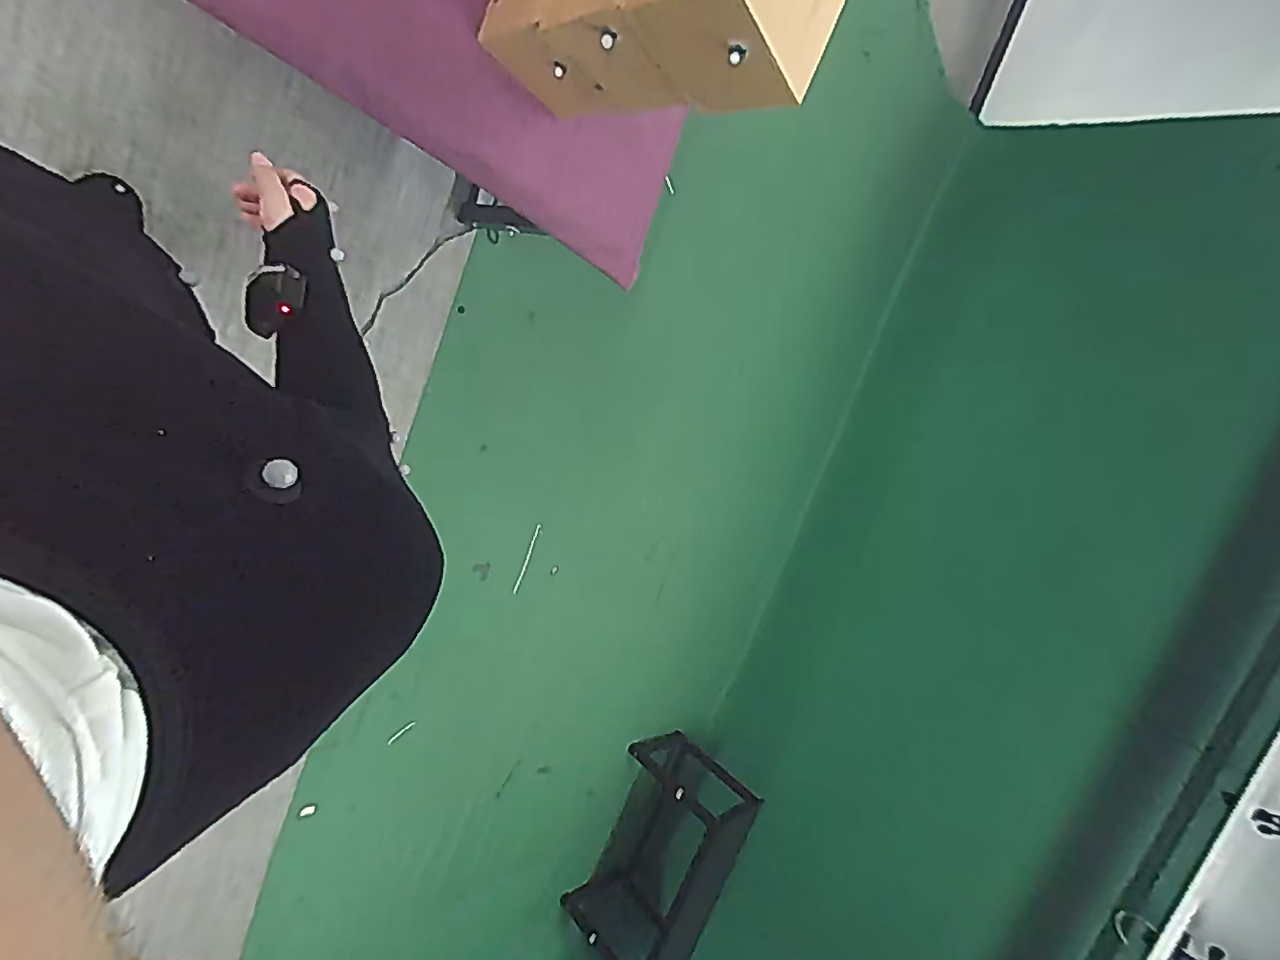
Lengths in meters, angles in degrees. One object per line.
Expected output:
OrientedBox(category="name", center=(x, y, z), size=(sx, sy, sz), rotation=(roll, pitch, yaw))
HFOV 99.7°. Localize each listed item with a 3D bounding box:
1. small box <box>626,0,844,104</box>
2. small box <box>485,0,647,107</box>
OrientedBox(category="small box", center=(0.114, -0.570, 0.623), size=(0.179, 0.176, 0.168), rotation=(18, 98, -51))
OrientedBox(category="small box", center=(-0.105, -0.705, 0.825), size=(0.179, 0.176, 0.168), rotation=(15, 100, -51))
